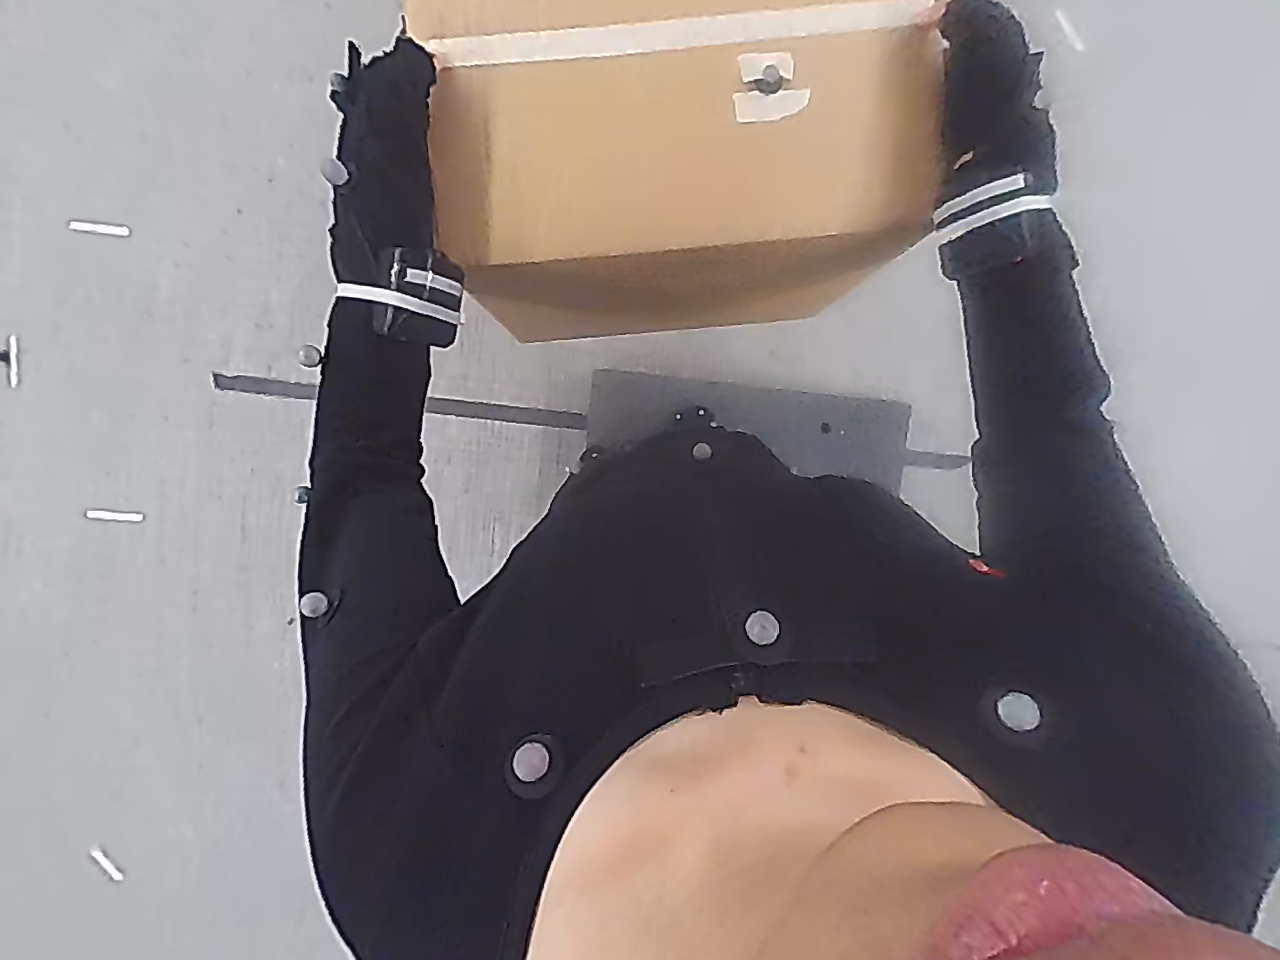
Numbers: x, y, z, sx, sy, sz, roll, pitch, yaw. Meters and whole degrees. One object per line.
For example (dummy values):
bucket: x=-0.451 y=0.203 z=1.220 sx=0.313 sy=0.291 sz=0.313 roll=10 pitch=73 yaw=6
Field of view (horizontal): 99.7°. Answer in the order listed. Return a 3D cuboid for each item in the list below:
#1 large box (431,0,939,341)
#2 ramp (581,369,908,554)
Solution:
large box: x=0.031 y=-0.352 z=0.583 sx=0.408 sy=0.320 sz=0.320 roll=-5 pitch=93 yaw=-1
ramp: x=0.337 y=-0.033 z=1.586 sx=0.991 sy=0.206 sz=0.509 roll=3 pitch=94 yaw=-4
